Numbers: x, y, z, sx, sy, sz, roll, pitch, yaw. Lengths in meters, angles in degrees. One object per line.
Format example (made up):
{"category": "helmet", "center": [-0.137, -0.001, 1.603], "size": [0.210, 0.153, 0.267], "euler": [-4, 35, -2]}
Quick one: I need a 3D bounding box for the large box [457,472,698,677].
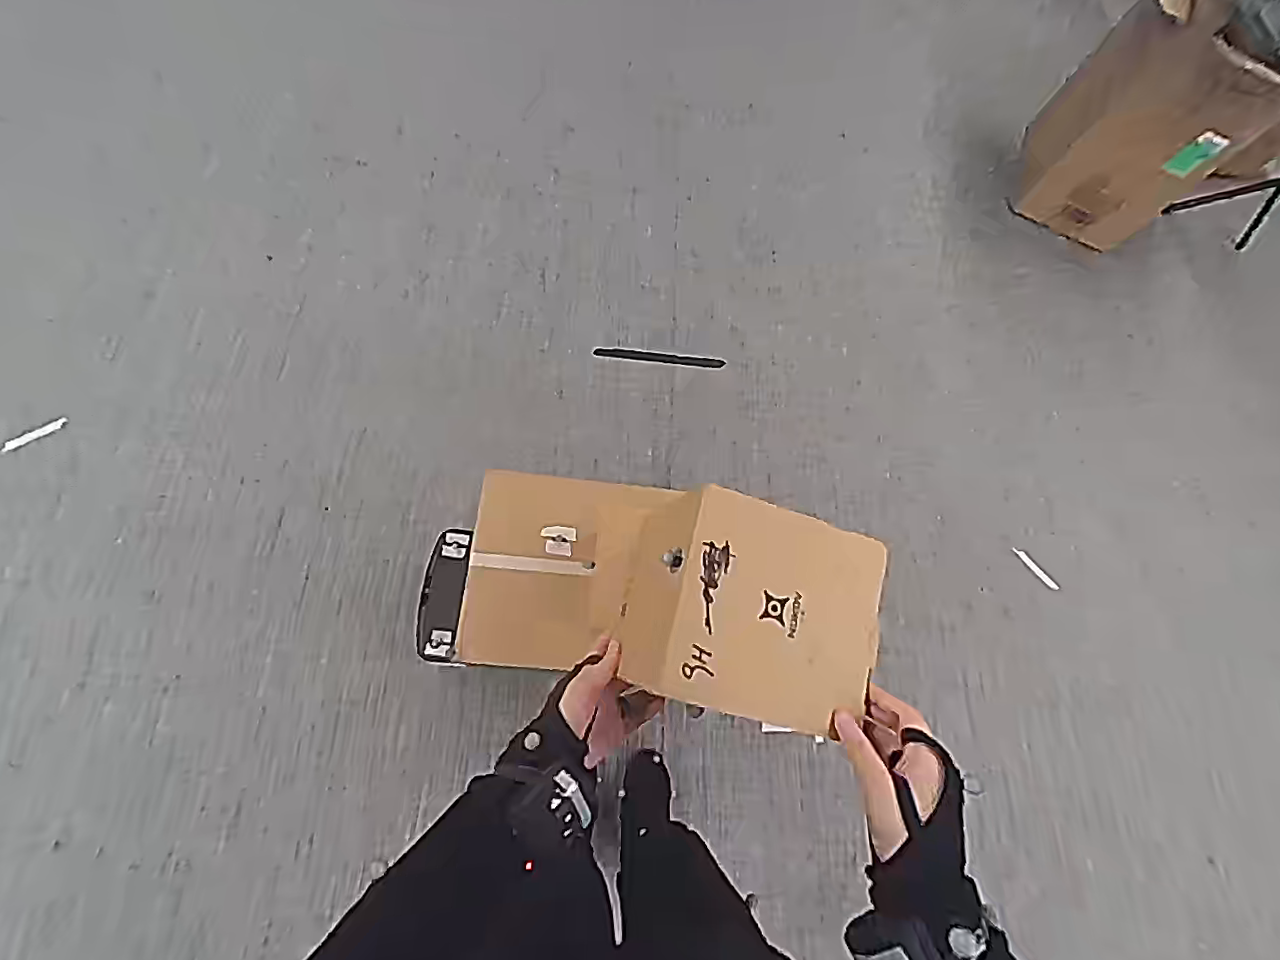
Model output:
{"category": "large box", "center": [-0.086, 0.194, 1.016], "size": [0.408, 0.320, 0.320], "euler": [6, 70, -5]}

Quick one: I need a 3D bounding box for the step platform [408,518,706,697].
{"category": "step platform", "center": [-0.150, 0.292, 1.228], "size": [0.684, 0.204, 0.286], "euler": [11, 70, -4]}

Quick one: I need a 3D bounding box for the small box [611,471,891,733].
{"category": "small box", "center": [0.091, 0.111, 0.494], "size": [0.179, 0.176, 0.168], "euler": [19, 71, -12]}
